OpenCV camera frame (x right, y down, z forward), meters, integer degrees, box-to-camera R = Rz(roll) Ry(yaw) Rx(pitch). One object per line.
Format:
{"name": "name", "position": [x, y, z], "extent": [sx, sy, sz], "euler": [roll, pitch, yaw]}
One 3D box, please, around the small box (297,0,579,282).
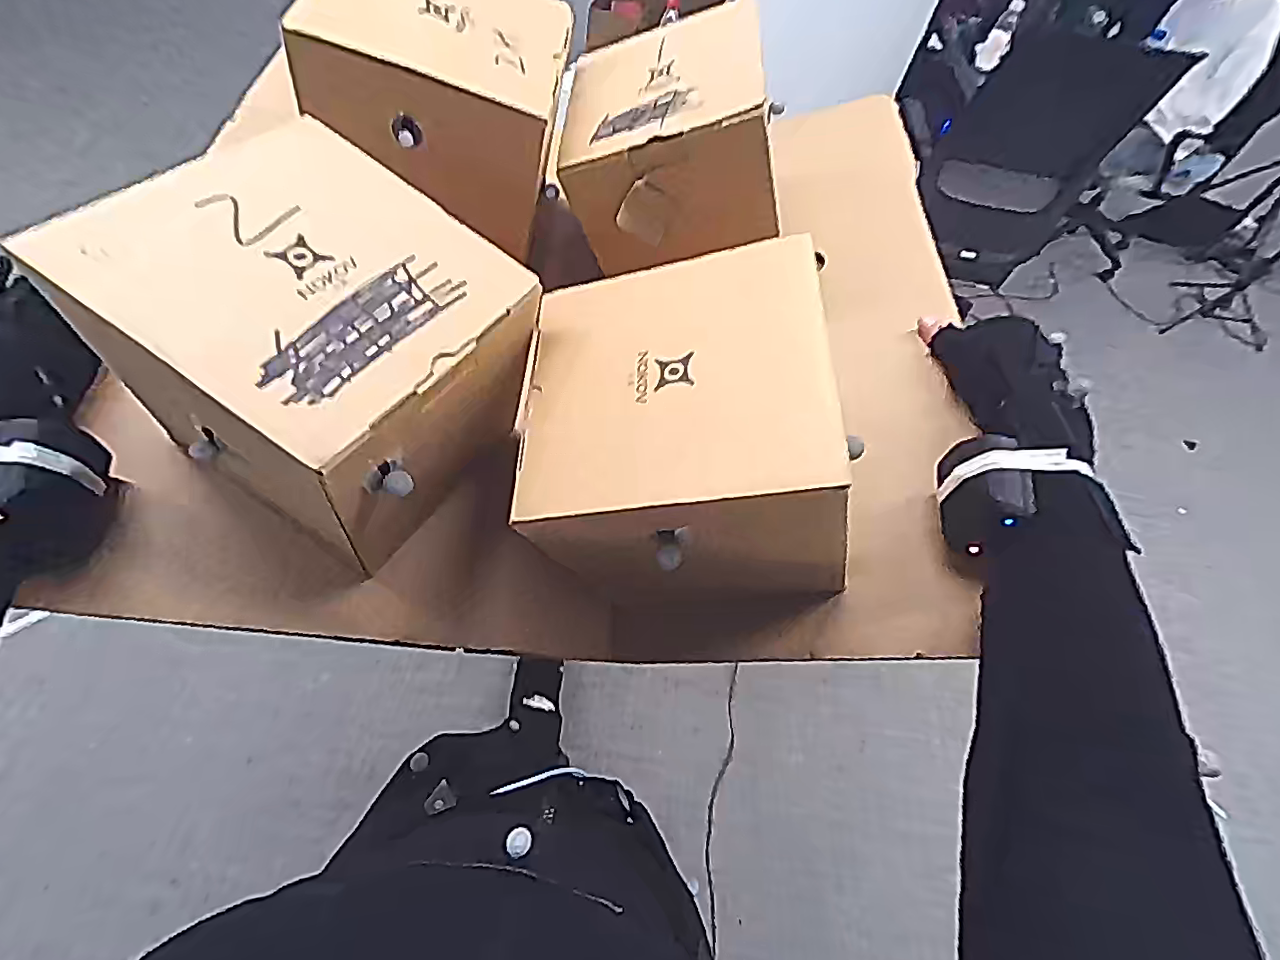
{"name": "small box", "position": [-0.166, -0.310, 0.486], "extent": [0.179, 0.176, 0.168], "euler": [12, 61, -14]}
